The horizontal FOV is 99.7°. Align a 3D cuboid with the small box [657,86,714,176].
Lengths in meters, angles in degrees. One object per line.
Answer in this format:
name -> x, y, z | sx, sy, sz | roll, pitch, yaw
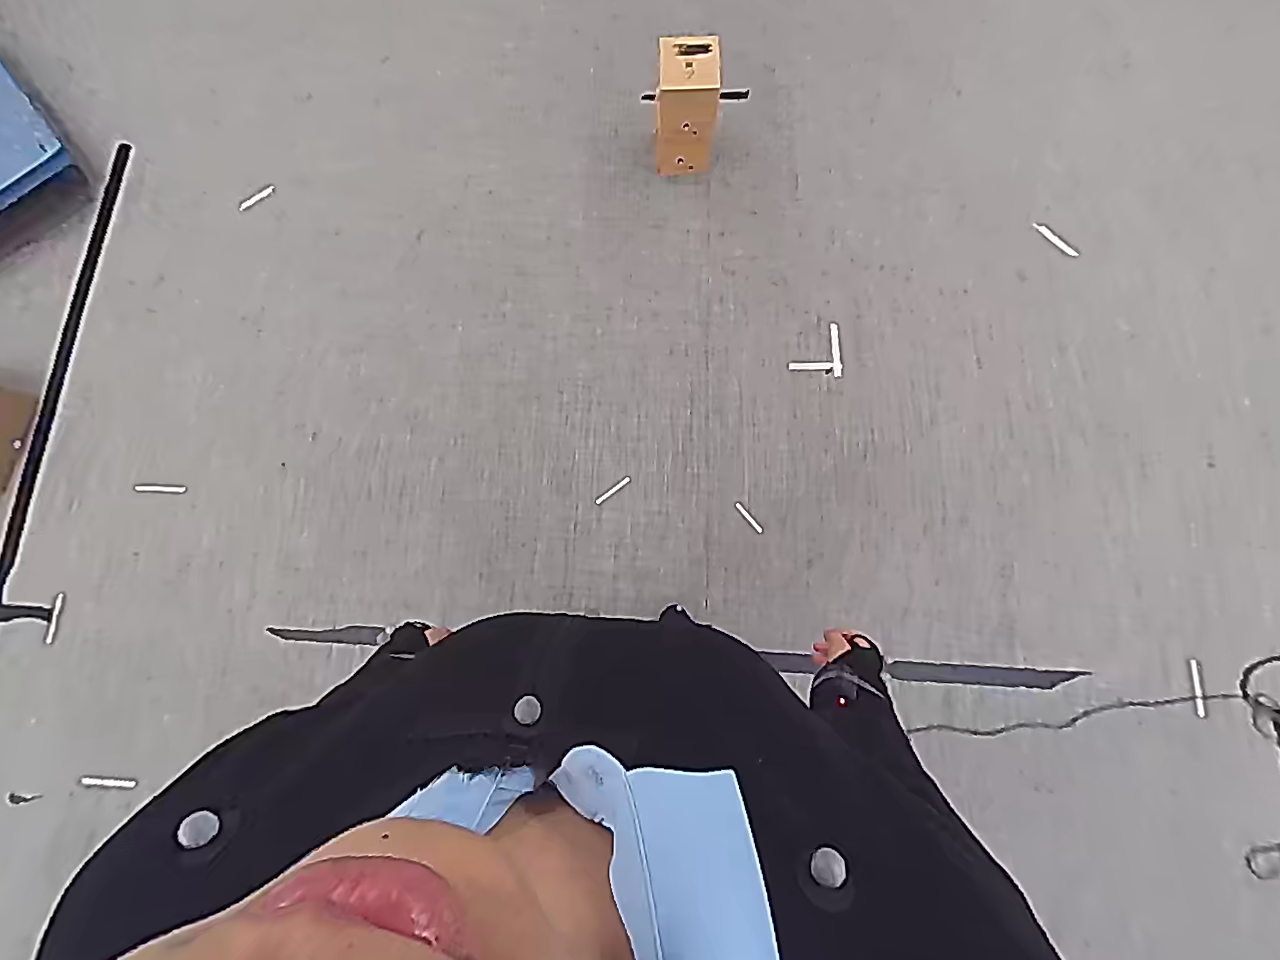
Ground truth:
small box -> 0.140, -1.110, 1.726 | 0.168, 0.176, 0.179 | -4, 78, 1
